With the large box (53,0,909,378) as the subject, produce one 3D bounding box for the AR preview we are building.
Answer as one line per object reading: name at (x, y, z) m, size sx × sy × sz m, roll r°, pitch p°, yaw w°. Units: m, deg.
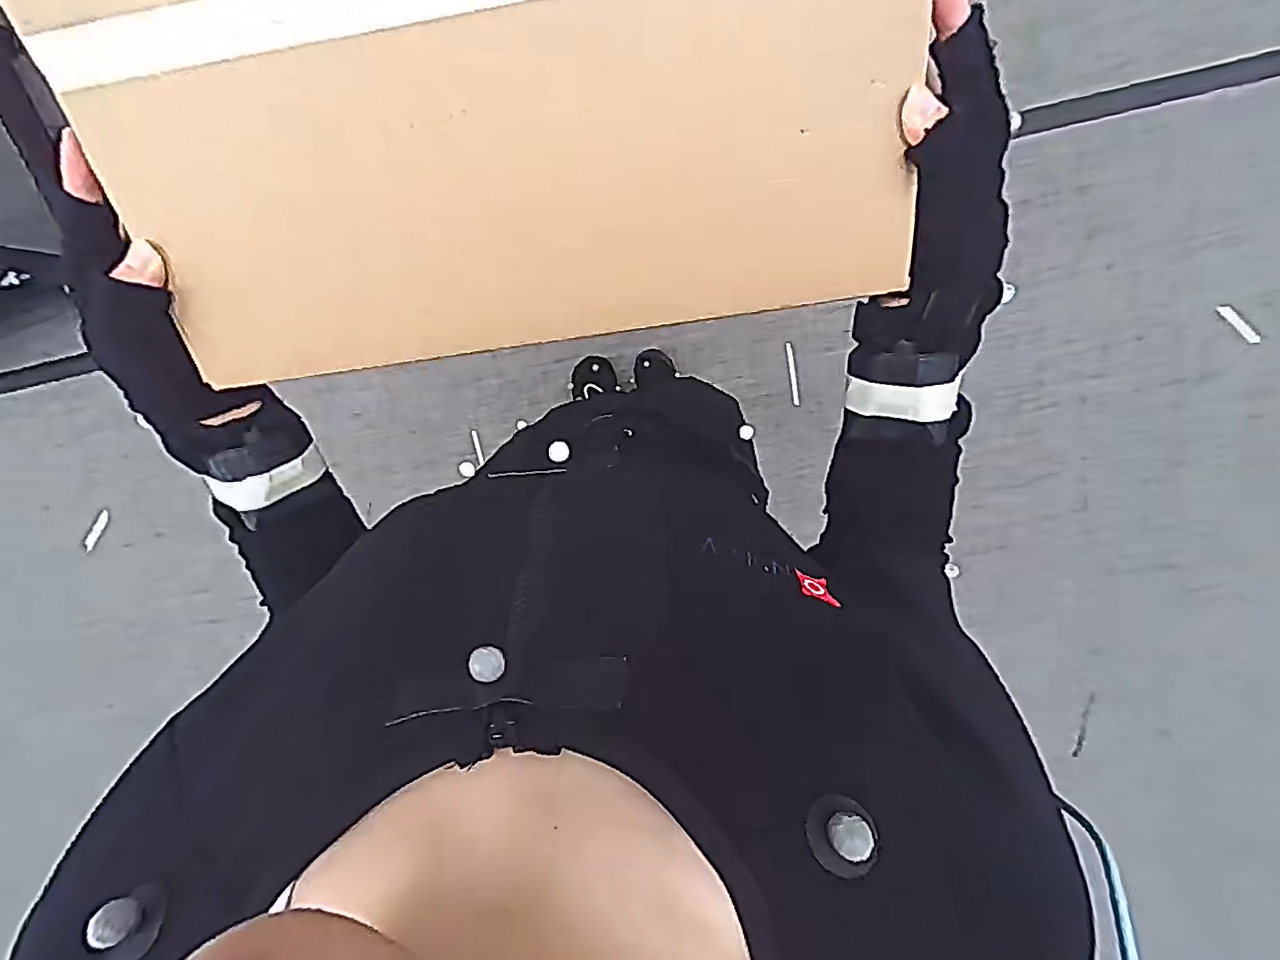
large box at (-0.076, -0.289, 0.385) m, size 0.408 × 0.320 × 0.320 m, roll -7°, pitch 117°, yaw 4°
